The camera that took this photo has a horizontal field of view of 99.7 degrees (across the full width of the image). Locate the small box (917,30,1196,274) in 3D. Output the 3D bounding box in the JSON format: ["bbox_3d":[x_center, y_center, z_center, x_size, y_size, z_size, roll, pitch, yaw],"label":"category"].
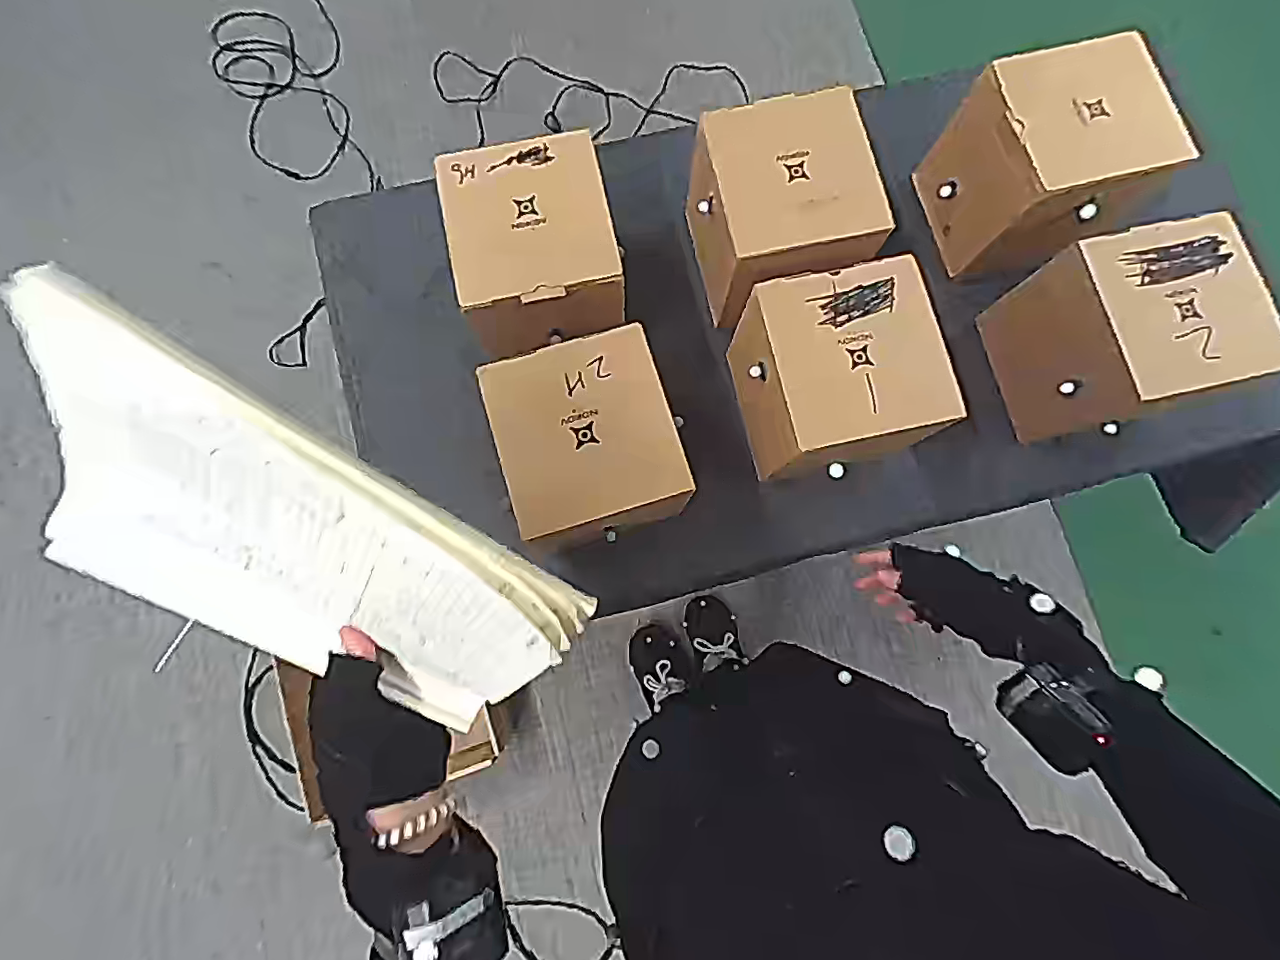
[{"bbox_3d":[0.475,-0.377,0.648,0.179,0.176,0.168,-14,80,-2],"label":"small box"}]
